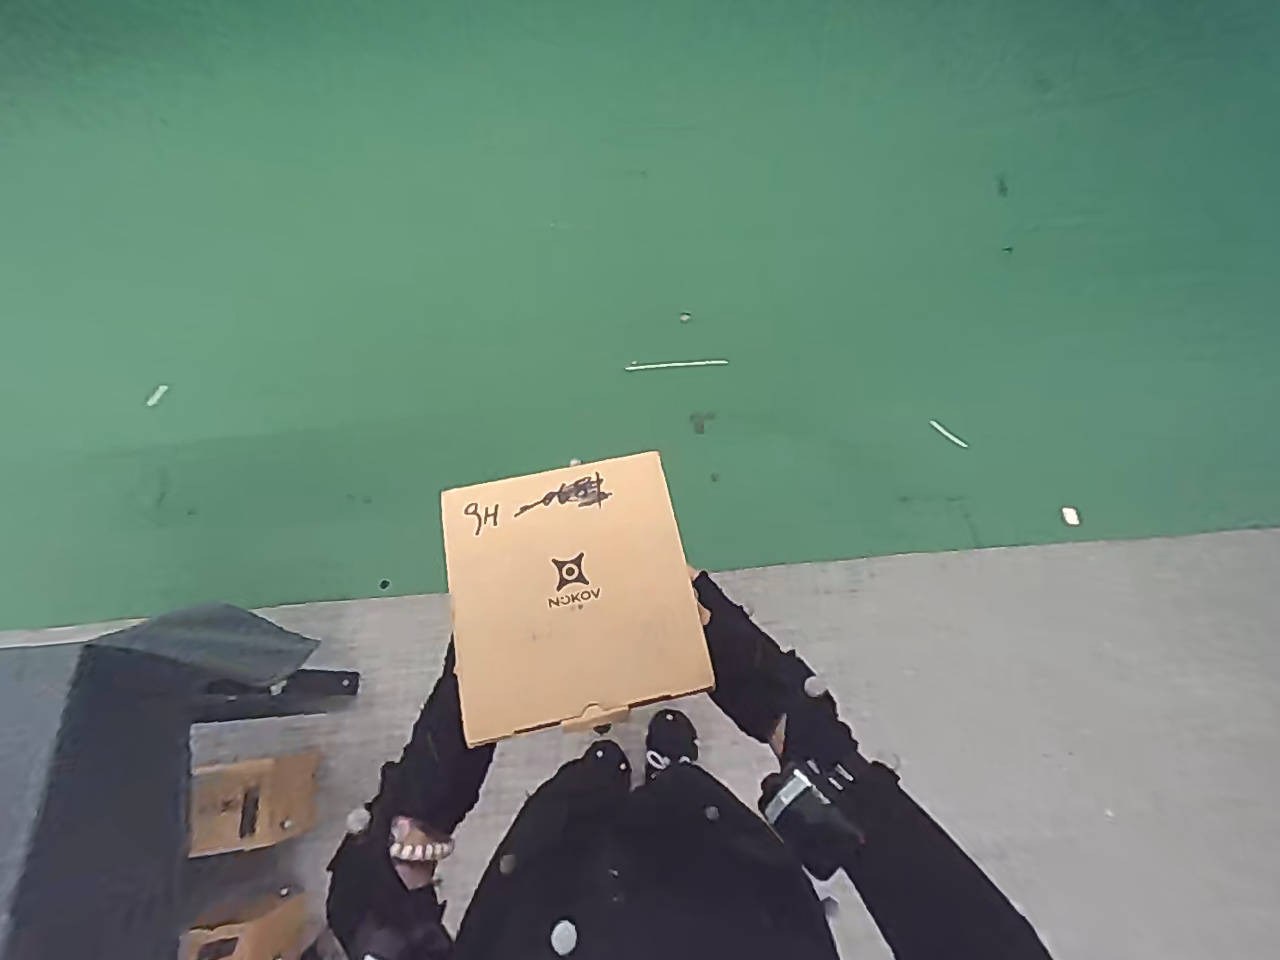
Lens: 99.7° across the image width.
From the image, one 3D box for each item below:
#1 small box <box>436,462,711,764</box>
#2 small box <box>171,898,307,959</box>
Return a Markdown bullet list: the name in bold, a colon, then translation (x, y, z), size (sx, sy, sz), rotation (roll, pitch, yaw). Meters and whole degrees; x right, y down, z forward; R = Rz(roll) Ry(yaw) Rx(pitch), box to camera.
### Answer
- **small box**: translation (-0.051, 0.107, 0.445), size (0.168, 0.176, 0.179), rotation (-12, 71, -6)
- **small box**: translation (-0.808, 0.976, 1.092), size (0.168, 0.176, 0.179), rotation (-6, 70, 0)
